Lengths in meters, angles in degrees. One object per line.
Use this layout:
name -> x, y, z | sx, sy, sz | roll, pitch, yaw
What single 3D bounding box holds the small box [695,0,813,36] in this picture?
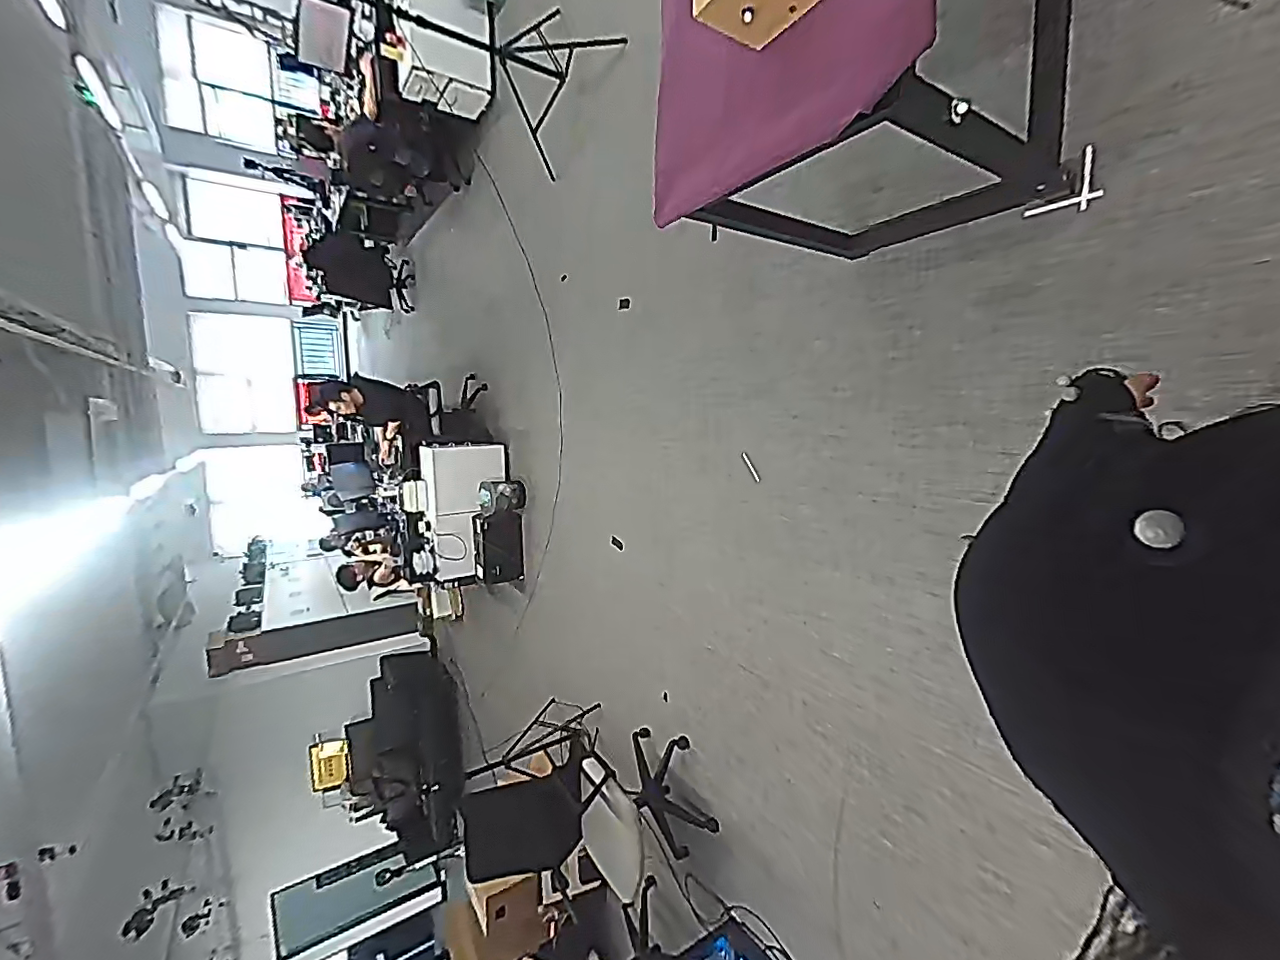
small box -> 0.207, -0.903, 0.915 | 0.168, 0.176, 0.179 | 5, 98, 56
